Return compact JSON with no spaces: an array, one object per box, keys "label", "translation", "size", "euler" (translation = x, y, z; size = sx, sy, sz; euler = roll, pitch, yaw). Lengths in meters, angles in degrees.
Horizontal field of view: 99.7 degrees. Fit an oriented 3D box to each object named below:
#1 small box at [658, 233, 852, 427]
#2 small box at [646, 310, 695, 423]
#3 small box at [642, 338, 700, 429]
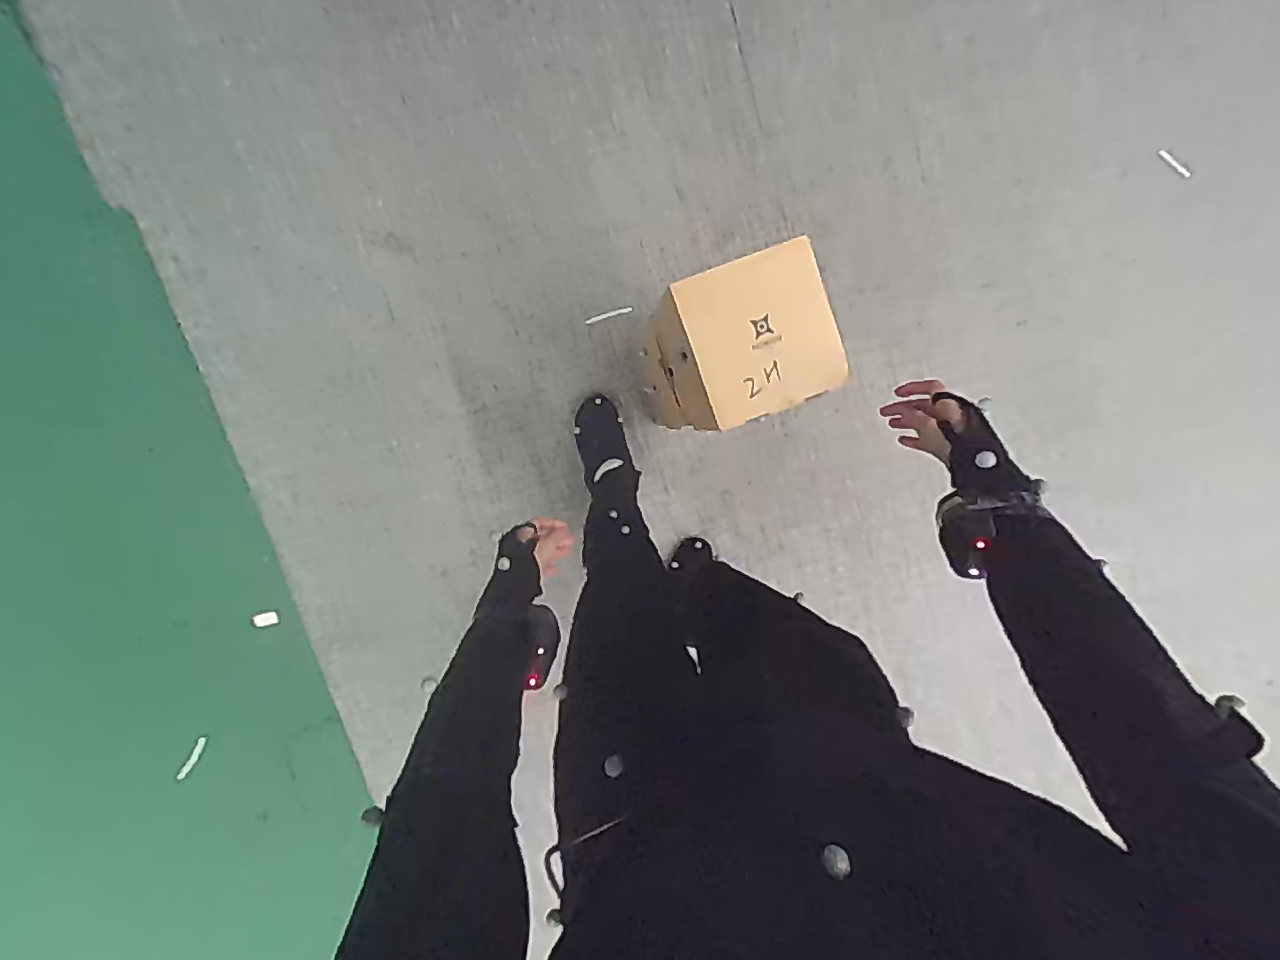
[{"label":"small box","translation":[0.130,-0.172,0.676],"size":[0.168,0.176,0.179],"euler":[-20,98,-2]},{"label":"small box","translation":[0.114,-0.189,0.839],"size":[0.179,0.176,0.168],"euler":[-19,97,-3]},{"label":"small box","translation":[0.111,-0.204,1.003],"size":[0.168,0.176,0.179],"euler":[-20,98,-3]}]
